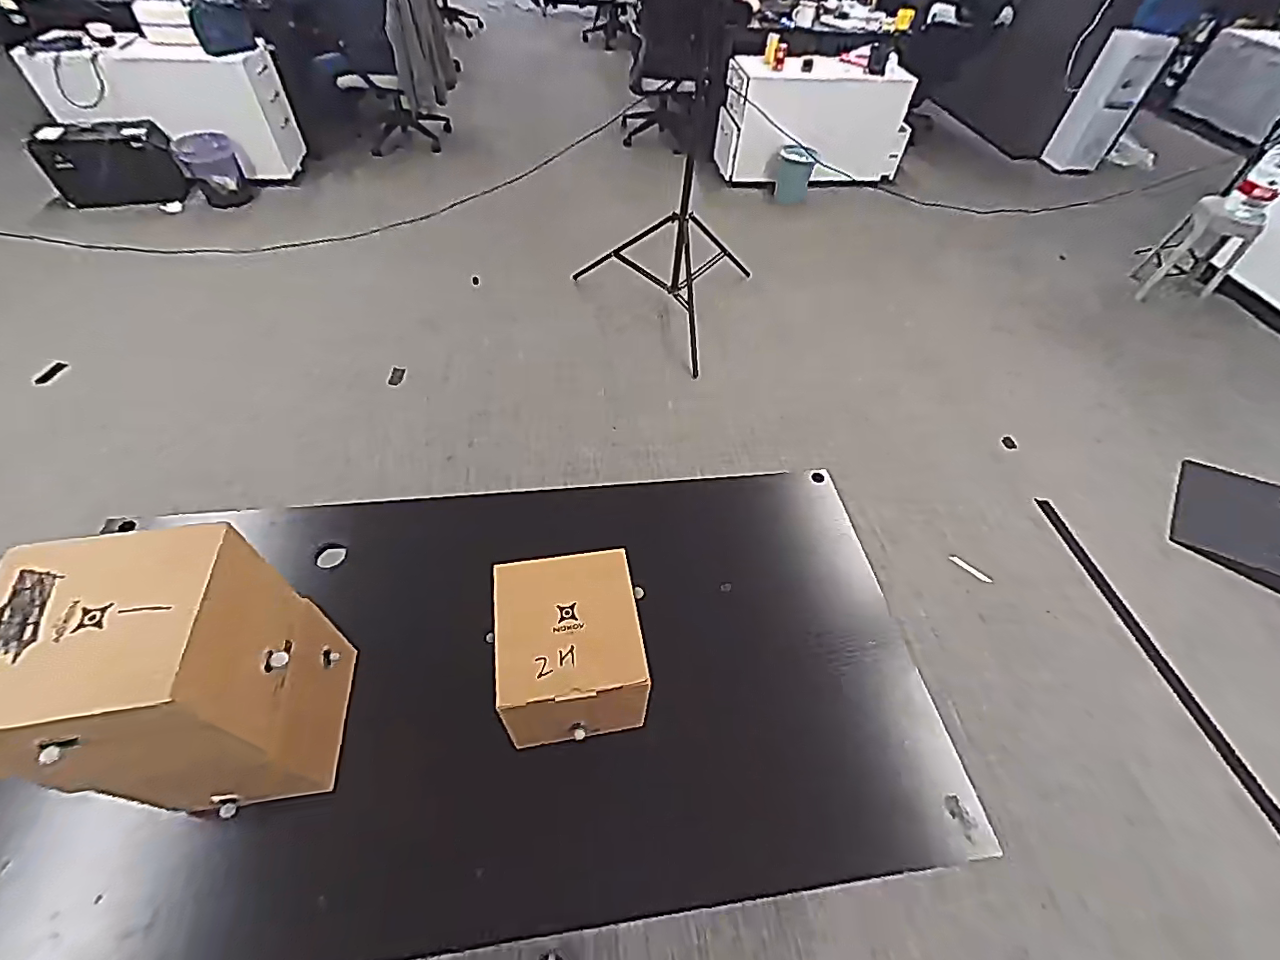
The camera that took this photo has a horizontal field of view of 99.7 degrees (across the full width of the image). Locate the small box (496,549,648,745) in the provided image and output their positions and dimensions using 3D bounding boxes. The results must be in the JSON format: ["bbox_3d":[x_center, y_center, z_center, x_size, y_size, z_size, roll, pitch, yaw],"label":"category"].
[{"bbox_3d":[-0.089,0.214,0.692,0.168,0.176,0.179,-7,51,-8],"label":"small box"}]

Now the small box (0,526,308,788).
[{"bbox_3d":[-0.447,0.165,0.499,0.179,0.176,0.168,-7,51,-9],"label":"small box"}]

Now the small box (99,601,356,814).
[{"bbox_3d":[-0.453,0.265,0.630,0.168,0.176,0.179,-6,52,-7],"label":"small box"}]
